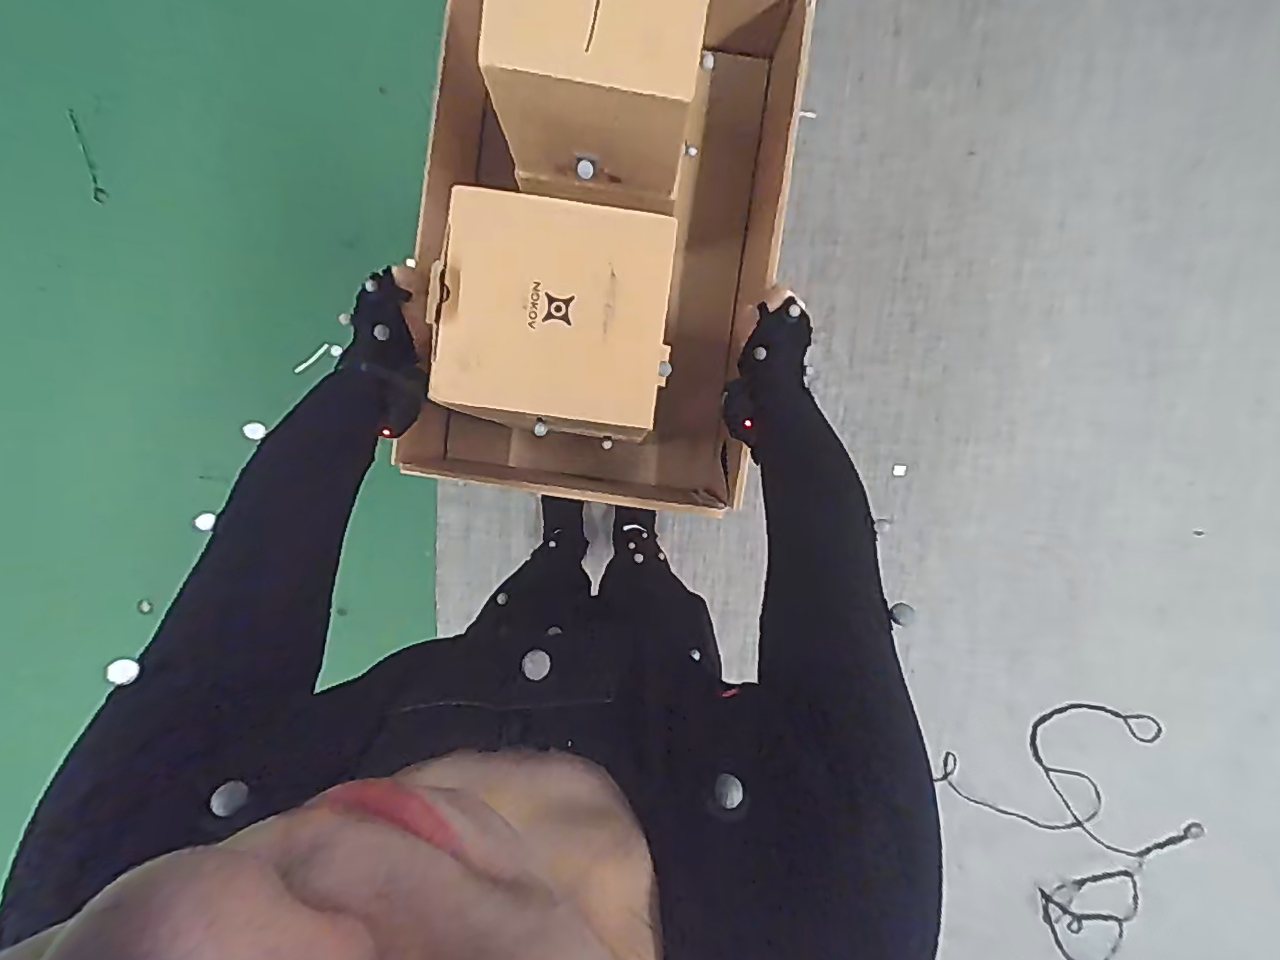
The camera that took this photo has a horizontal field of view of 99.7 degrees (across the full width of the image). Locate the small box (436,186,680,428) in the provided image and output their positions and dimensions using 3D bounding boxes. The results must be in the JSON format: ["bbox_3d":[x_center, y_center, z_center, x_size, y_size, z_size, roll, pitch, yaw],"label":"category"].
[{"bbox_3d":[-0.068,-0.141,0.505,0.179,0.176,0.168,7,93,-4],"label":"small box"}]

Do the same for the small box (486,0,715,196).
[{"bbox_3d":[-0.028,-0.393,0.487,0.168,0.176,0.179,10,95,-4],"label":"small box"}]
